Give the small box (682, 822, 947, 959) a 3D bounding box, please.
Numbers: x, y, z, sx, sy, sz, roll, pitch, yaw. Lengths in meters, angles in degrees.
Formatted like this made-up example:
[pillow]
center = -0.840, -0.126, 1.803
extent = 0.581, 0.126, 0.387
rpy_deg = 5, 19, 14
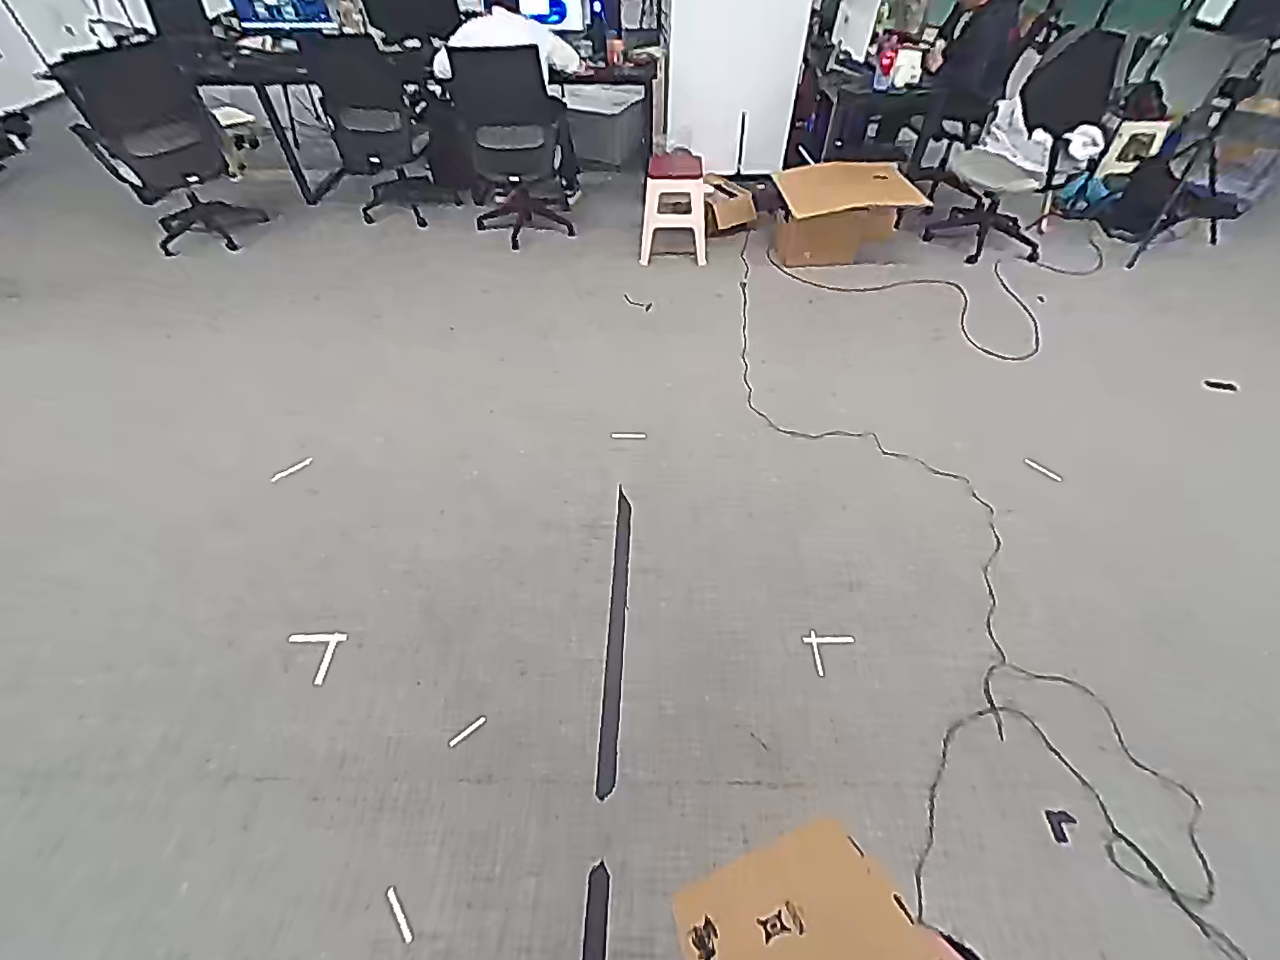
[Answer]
[small box]
center = 0.156, 0.442, 0.448
extent = 0.179, 0.168, 0.176
rpy_deg = -22, 90, -6
